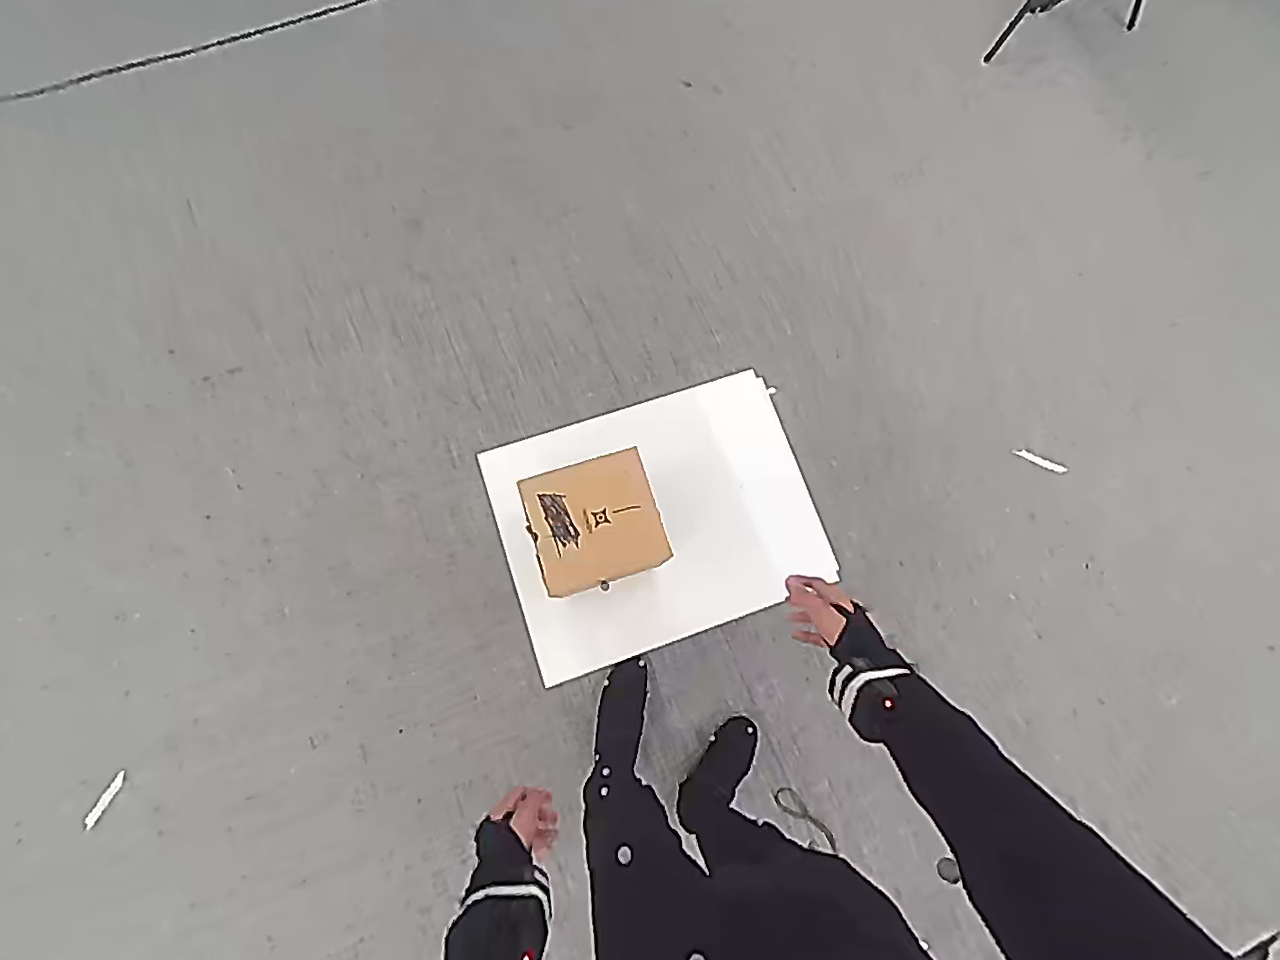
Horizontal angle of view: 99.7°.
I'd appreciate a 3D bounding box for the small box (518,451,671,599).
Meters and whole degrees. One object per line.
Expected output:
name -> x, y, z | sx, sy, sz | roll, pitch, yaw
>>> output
small box -> -0.067, 0.076, 0.811 | 0.179, 0.176, 0.168 | -17, 79, -8
